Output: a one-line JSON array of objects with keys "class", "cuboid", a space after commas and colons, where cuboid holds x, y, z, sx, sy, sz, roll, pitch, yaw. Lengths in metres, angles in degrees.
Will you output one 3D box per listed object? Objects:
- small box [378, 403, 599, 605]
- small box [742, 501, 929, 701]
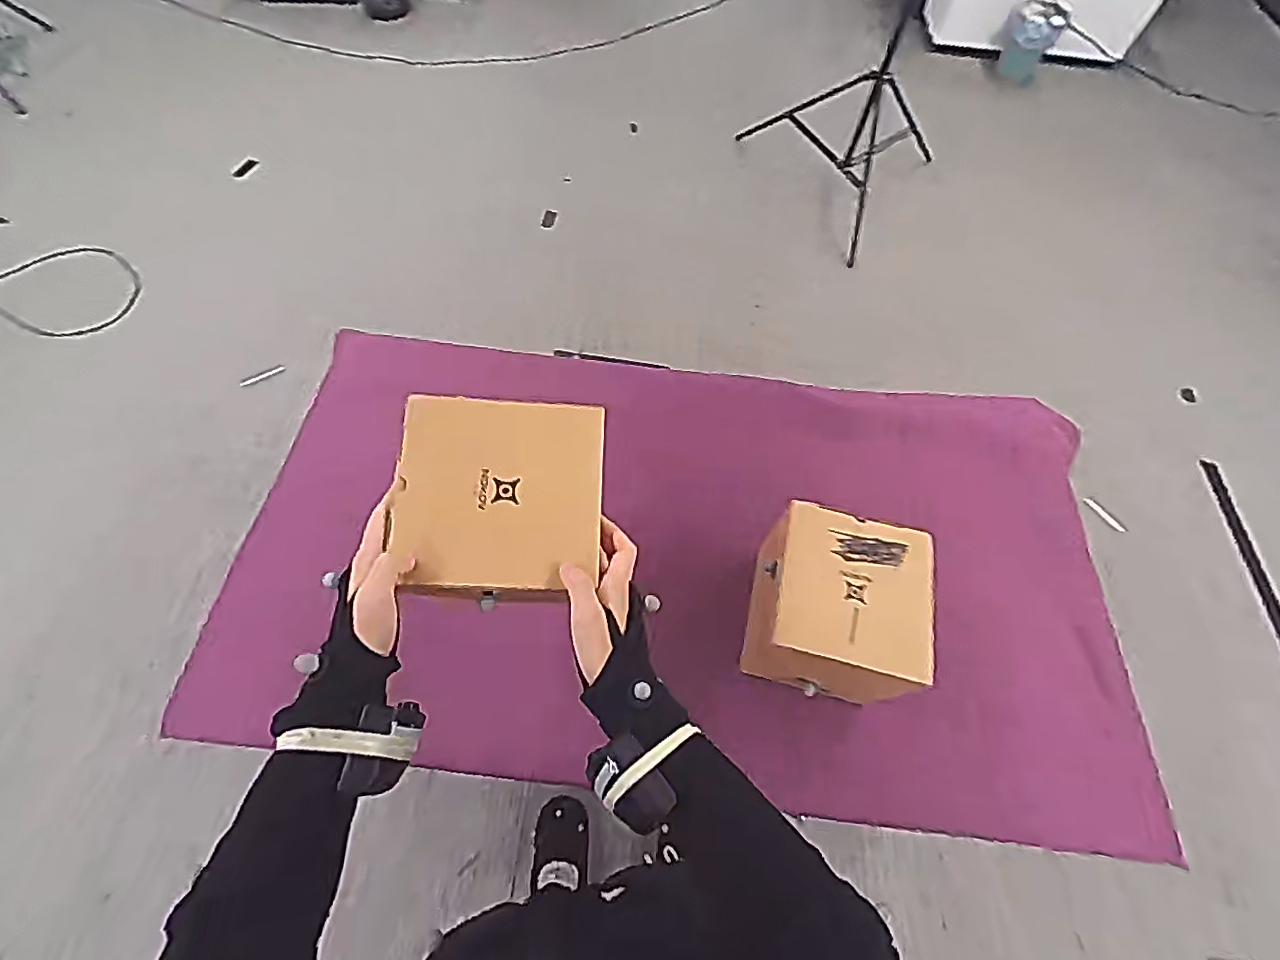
[{"class": "small box", "cuboid": [-0.136, 0.036, 0.545, 0.179, 0.176, 0.168, 2, 73, -6]}, {"class": "small box", "cuboid": [0.232, 0.155, 0.667, 0.168, 0.176, 0.179, 14, 62, 5]}]
